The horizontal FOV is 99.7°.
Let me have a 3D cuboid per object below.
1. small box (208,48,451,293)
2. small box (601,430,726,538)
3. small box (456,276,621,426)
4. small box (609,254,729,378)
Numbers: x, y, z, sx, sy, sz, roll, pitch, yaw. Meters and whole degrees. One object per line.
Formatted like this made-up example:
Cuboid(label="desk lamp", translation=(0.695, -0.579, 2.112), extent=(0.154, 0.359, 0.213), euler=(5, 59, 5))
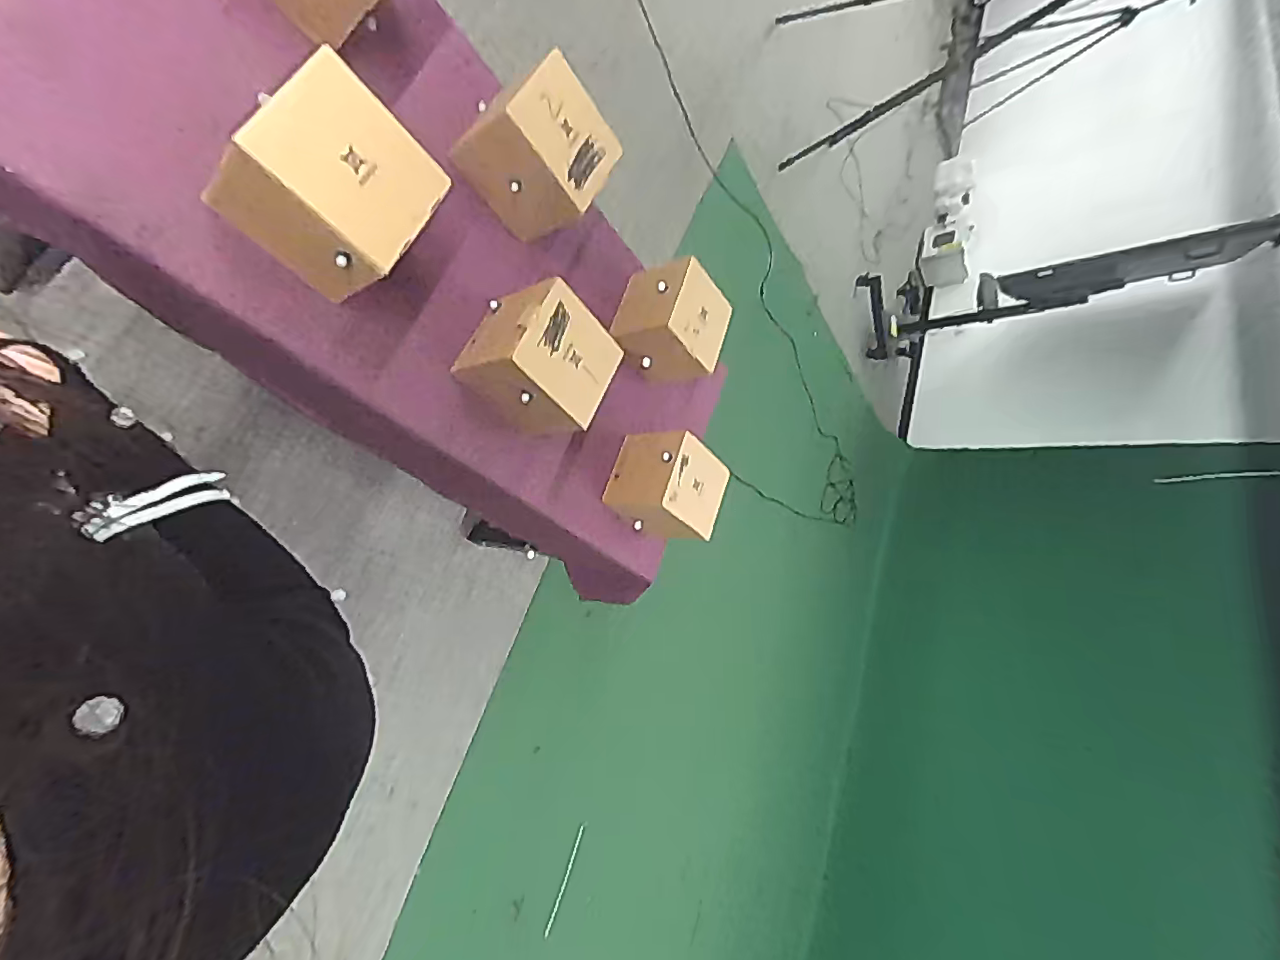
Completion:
Cuboid(label="small box", translation=(-0.379, -0.359, 0.664), extent=(0.179, 0.176, 0.168), euler=(42, 61, -41))
Cuboid(label="small box", translation=(0.051, 0.007, 1.145), extent=(0.179, 0.176, 0.168), euler=(39, 63, -41))
Cuboid(label="small box", translation=(-0.169, -0.200, 0.899), extent=(0.179, 0.176, 0.168), euler=(44, 60, -40))
Cuboid(label="small box", translation=(0.061, -0.338, 1.148), extent=(0.168, 0.176, 0.179), euler=(36, 65, -41))
